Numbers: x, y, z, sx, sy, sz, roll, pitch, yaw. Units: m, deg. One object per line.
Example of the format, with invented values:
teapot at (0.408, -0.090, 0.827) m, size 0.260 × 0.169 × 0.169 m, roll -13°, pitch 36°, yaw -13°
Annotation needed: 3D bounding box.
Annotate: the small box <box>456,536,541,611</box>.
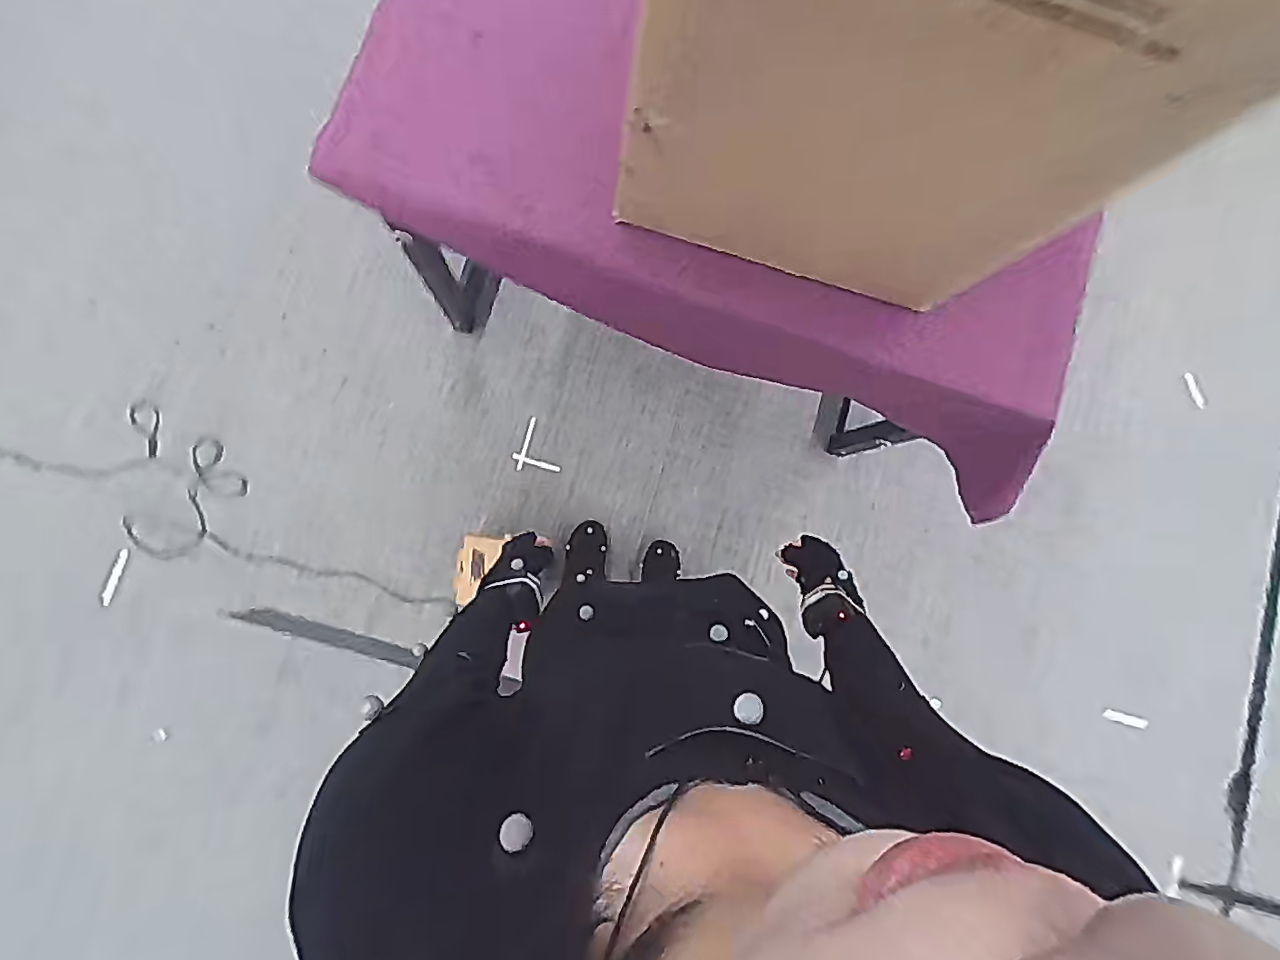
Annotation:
small box at (-0.357, 0.235, 1.391) m, size 0.179 × 0.176 × 0.168 m, roll 7°, pitch 85°, yaw -7°
